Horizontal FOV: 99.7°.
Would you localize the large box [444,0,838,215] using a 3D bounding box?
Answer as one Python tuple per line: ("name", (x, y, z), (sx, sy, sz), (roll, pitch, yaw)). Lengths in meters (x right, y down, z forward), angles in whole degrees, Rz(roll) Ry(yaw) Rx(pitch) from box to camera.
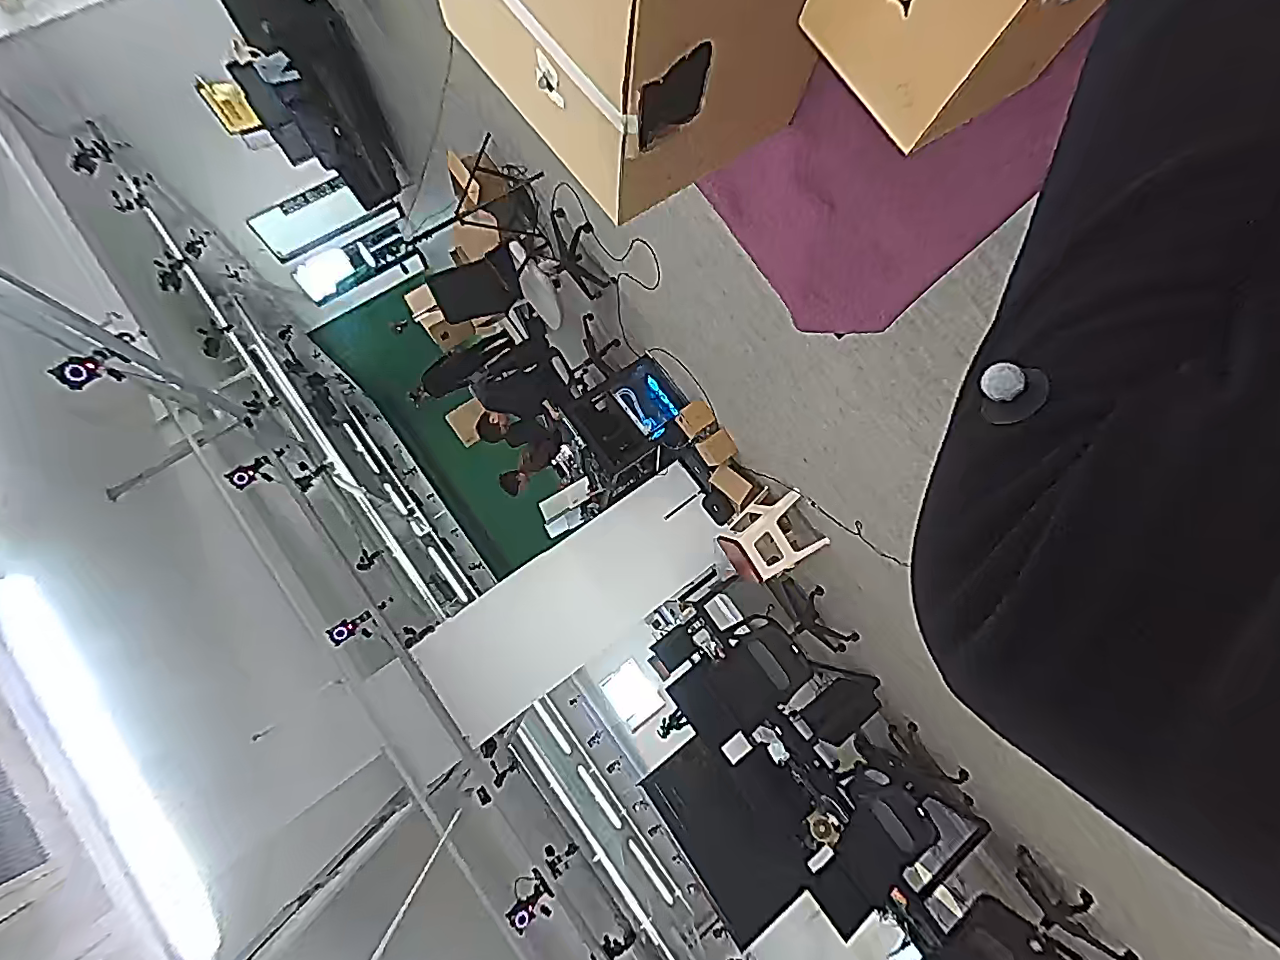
("large box", (-0.011, -0.616, 0.616), (0.408, 0.320, 0.320), (50, 168, 8))
